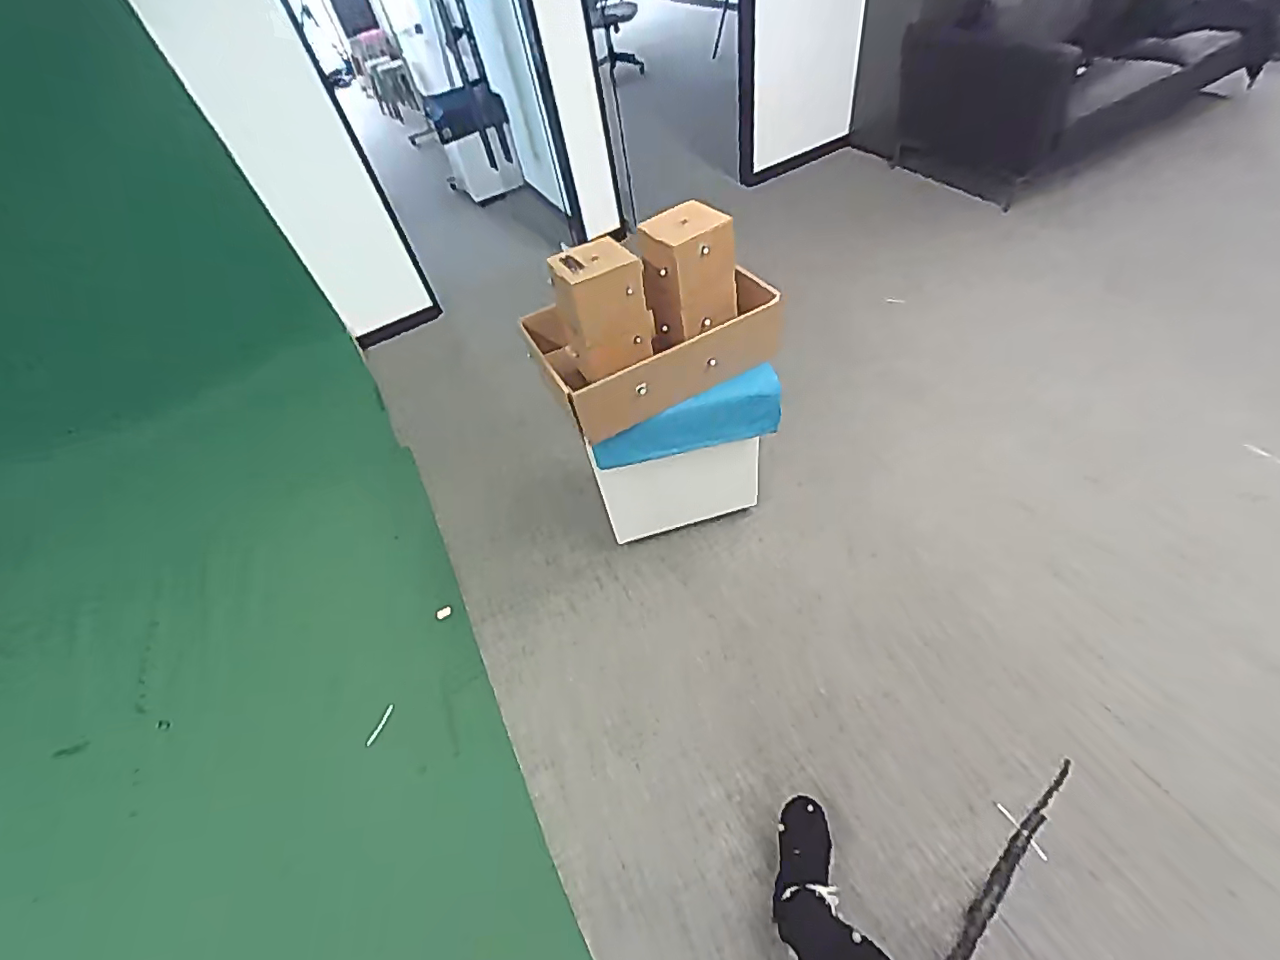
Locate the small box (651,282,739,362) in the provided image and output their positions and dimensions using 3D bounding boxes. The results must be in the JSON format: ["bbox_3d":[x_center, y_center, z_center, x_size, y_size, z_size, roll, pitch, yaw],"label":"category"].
[{"bbox_3d":[0.158,-0.456,1.488,0.179,0.176,0.168,-31,50,-12],"label":"small box"}]

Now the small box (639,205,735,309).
[{"bbox_3d":[0.125,-0.561,1.367,0.179,0.176,0.168,-31,50,-13],"label":"small box"}]

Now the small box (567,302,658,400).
[{"bbox_3d":[-0.069,-0.342,1.447,0.179,0.176,0.168,-27,49,-12],"label":"small box"}]
